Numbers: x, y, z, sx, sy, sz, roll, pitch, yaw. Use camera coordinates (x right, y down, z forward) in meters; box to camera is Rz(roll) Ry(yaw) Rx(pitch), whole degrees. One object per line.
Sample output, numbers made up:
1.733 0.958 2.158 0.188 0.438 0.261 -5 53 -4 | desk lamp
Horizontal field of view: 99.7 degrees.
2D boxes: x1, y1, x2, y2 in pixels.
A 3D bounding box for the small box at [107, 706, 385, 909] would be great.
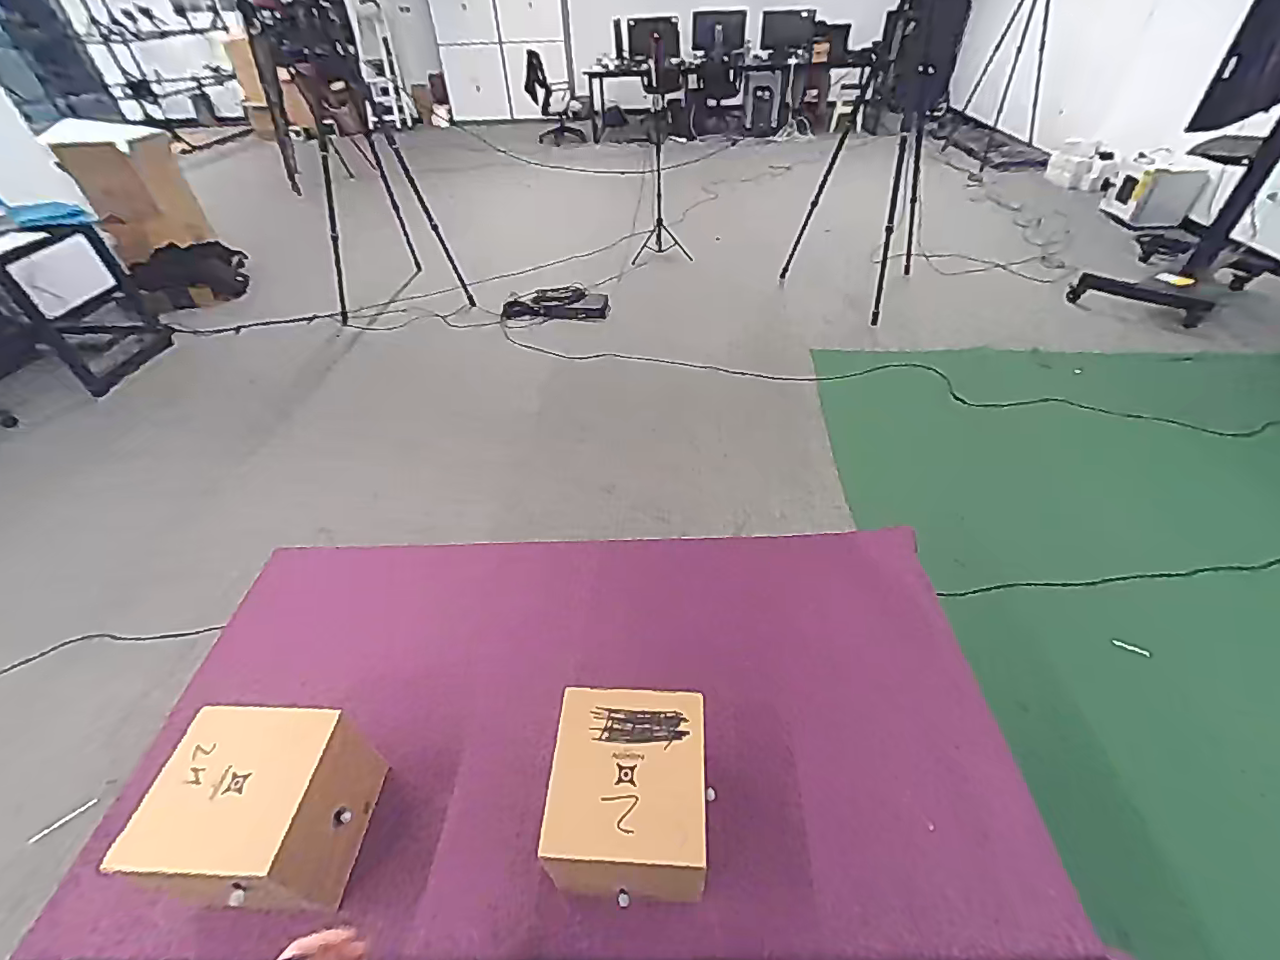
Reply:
-0.438 0.390 0.644 0.179 0.176 0.168 0 42 4 | small box
